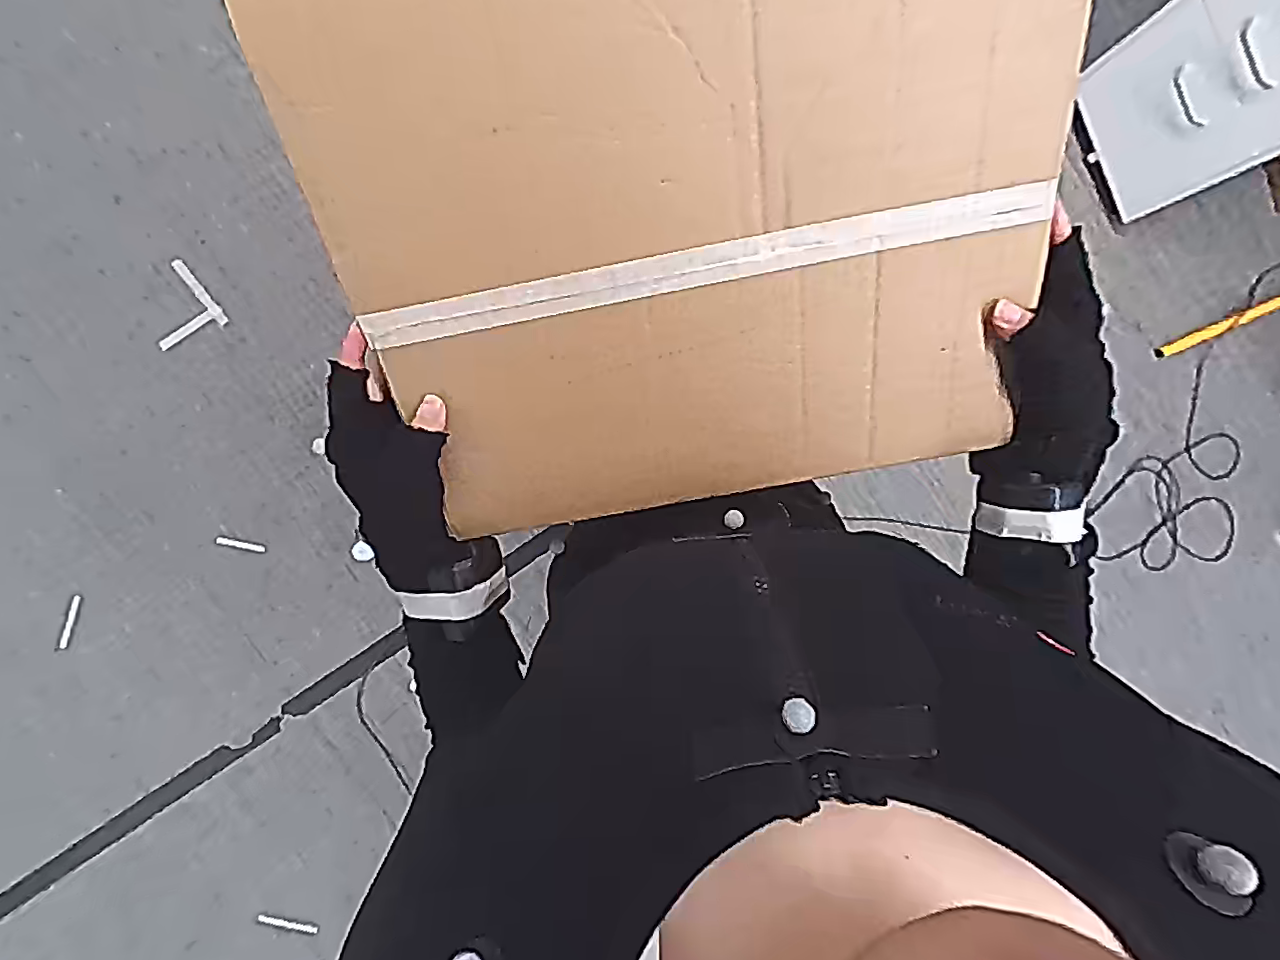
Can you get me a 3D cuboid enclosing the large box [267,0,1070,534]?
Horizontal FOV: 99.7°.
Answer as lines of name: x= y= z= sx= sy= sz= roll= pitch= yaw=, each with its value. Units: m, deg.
large box: x=0.027 y=-0.195 z=0.455 sx=0.408 sy=0.320 sz=0.320 roll=-10 pitch=120 yaw=2
